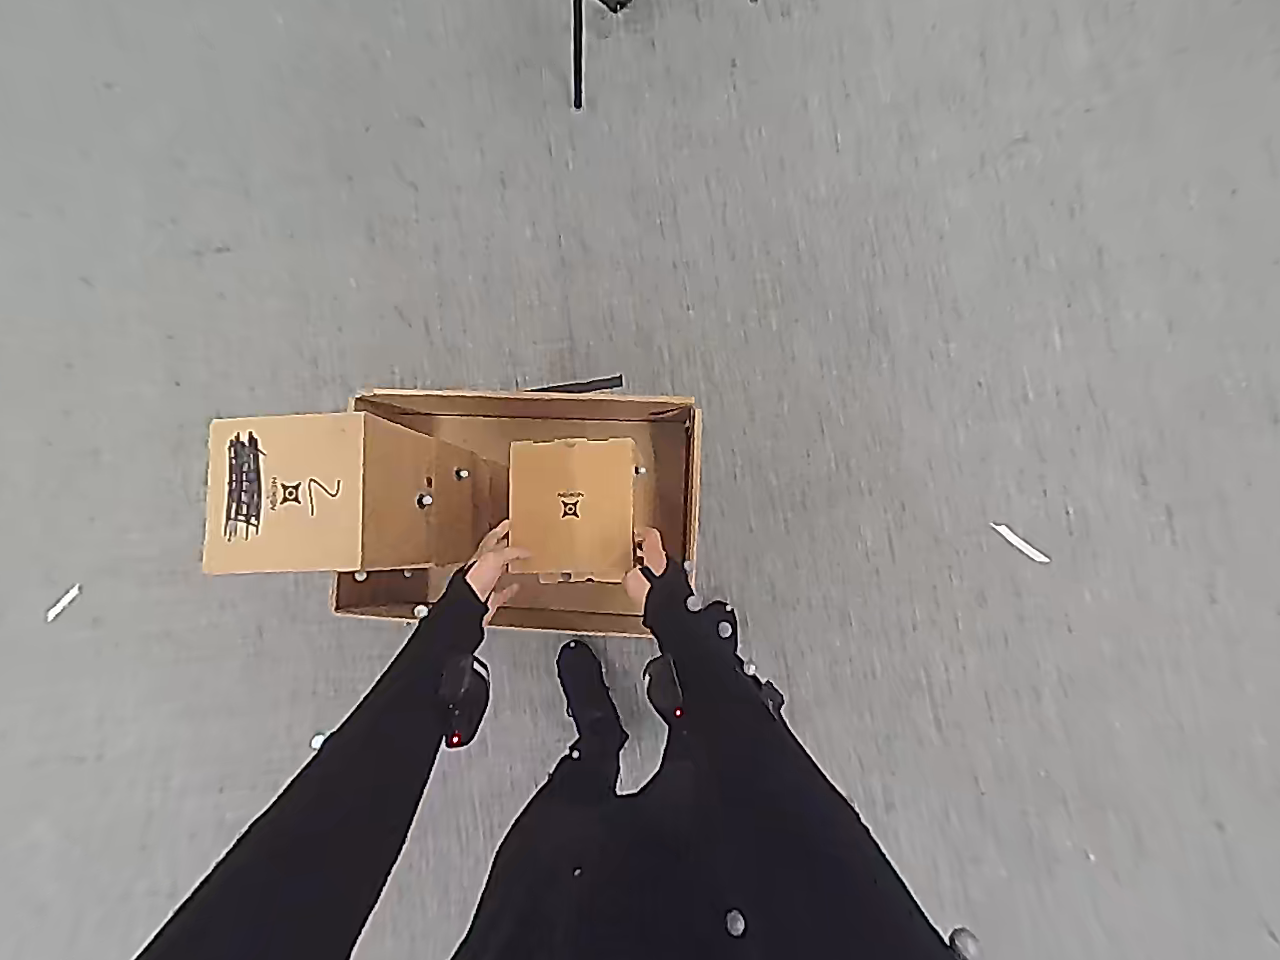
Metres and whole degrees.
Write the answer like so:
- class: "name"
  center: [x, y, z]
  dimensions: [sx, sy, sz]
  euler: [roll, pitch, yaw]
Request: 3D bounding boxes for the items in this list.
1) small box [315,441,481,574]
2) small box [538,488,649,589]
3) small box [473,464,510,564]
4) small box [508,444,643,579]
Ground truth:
- class: "small box"
  center: [-0.345, 0.045, 0.800]
  dimensions: [0.168, 0.176, 0.179]
  euler: [-3, 84, 5]
- class: "small box"
  center: [-0.073, 0.092, 0.942]
  dimensions: [0.168, 0.176, 0.179]
  euler: [0, 84, 5]
- class: "small box"
  center: [-0.325, 0.063, 0.963]
  dimensions: [0.179, 0.176, 0.168]
  euler: [0, 85, 3]
- class: "small box"
  center: [-0.084, 0.050, 0.783]
  dimensions: [0.168, 0.176, 0.179]
  euler: [-1, 82, 5]
